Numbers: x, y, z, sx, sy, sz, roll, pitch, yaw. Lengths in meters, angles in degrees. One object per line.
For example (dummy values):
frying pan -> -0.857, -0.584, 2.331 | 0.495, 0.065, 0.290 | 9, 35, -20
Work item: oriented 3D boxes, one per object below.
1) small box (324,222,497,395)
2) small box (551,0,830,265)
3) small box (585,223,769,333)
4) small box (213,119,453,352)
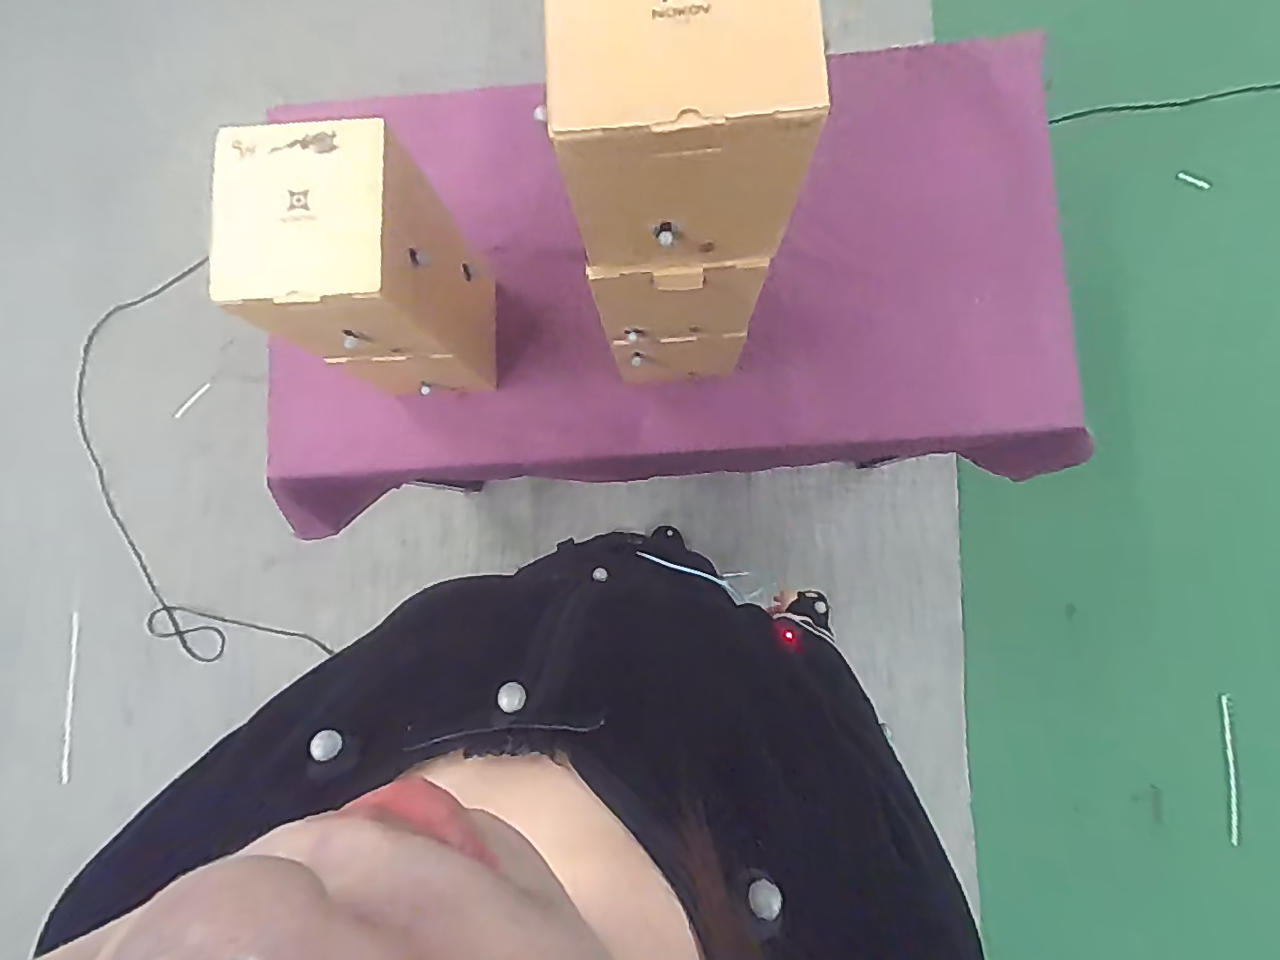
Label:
small box -> -0.303, -0.225, 0.746 | 0.168, 0.176, 0.179 | -2, 85, 3
small box -> 0.029, -0.288, 0.406 | 0.168, 0.176, 0.179 | -4, 85, 2
small box -> 0.035, -0.264, 0.567 | 0.168, 0.176, 0.179 | -3, 84, 3
small box -> -0.312, -0.243, 0.582 | 0.168, 0.176, 0.179 | -2, 85, 2
